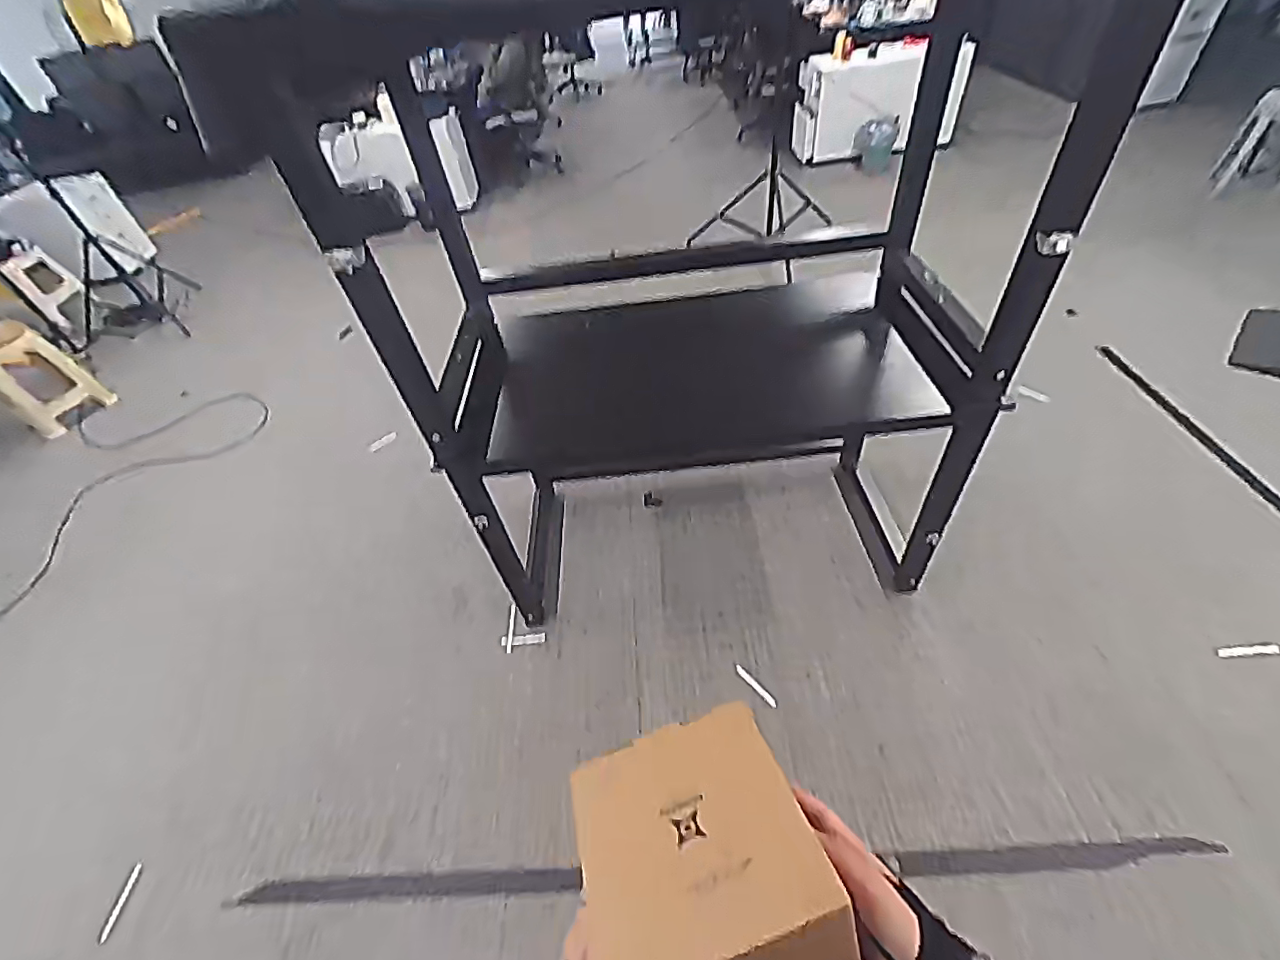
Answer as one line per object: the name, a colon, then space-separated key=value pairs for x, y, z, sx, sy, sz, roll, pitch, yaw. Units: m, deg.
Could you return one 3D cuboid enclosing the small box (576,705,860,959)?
small box: x=0.058 y=0.331 z=0.440 sx=0.168 sy=0.176 sz=0.179 roll=-20 pitch=25 yaw=-6
